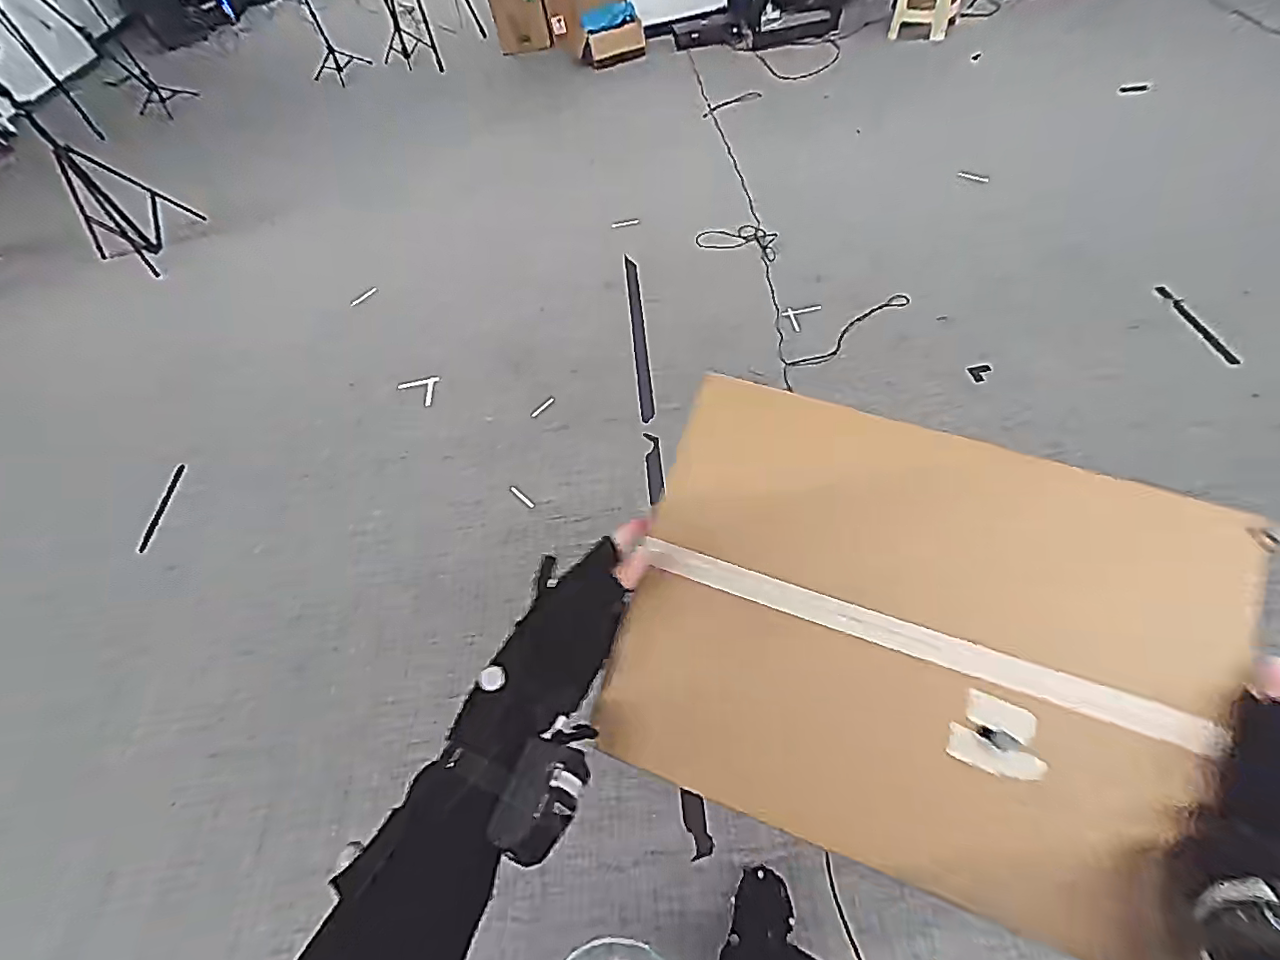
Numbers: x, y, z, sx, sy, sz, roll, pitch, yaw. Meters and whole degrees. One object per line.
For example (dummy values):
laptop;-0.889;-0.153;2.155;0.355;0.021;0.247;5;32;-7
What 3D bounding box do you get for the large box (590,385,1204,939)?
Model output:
large box;0.207;0.139;0.556;0.408;0.320;0.320;16;81;11
